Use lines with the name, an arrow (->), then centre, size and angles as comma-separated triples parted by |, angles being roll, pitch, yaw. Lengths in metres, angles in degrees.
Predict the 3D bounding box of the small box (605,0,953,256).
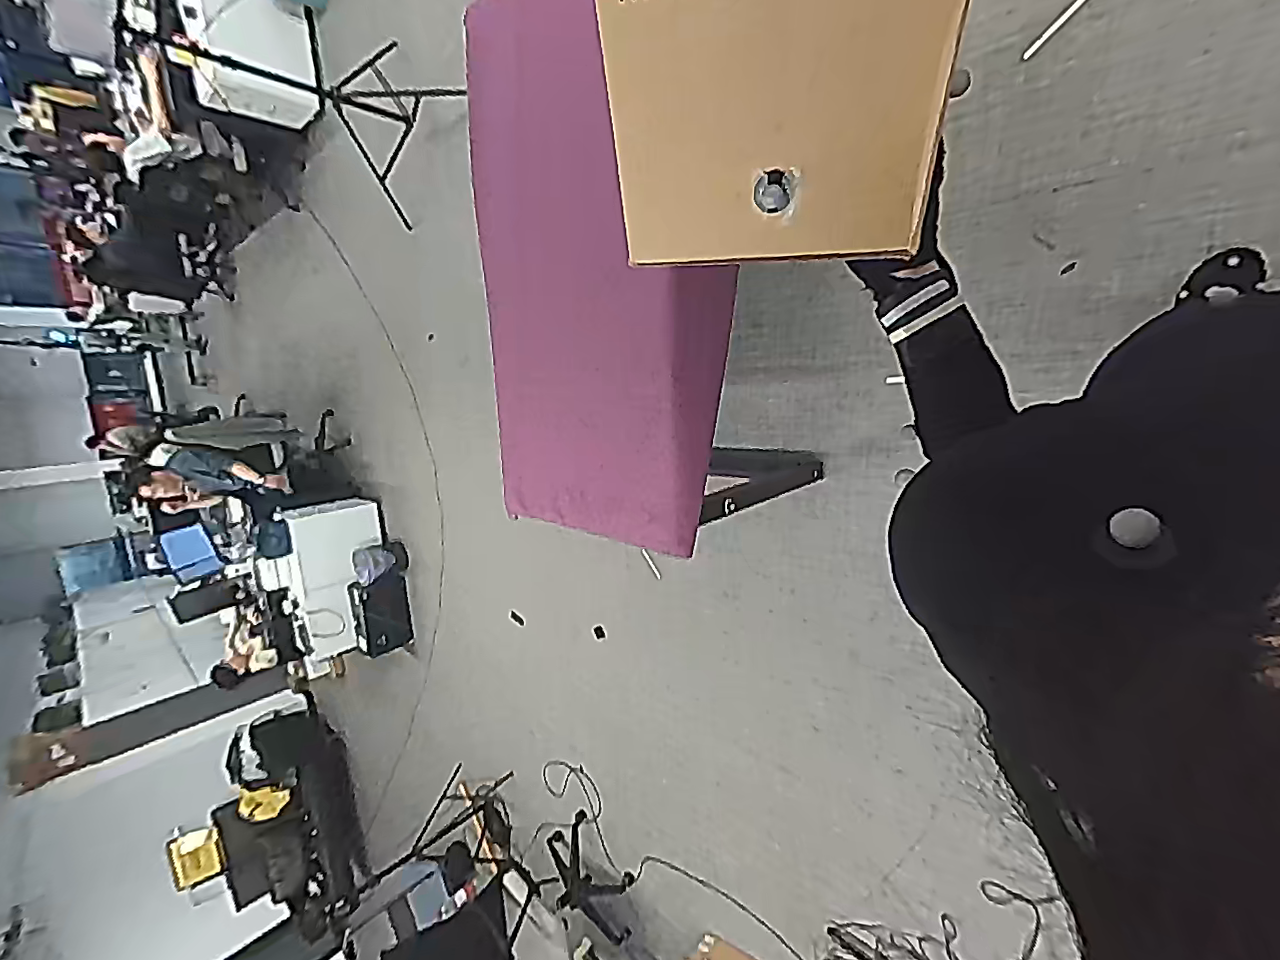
small box -> 0.086, -0.260, 0.339 | 0.179, 0.168, 0.176 | 5, 133, 17
